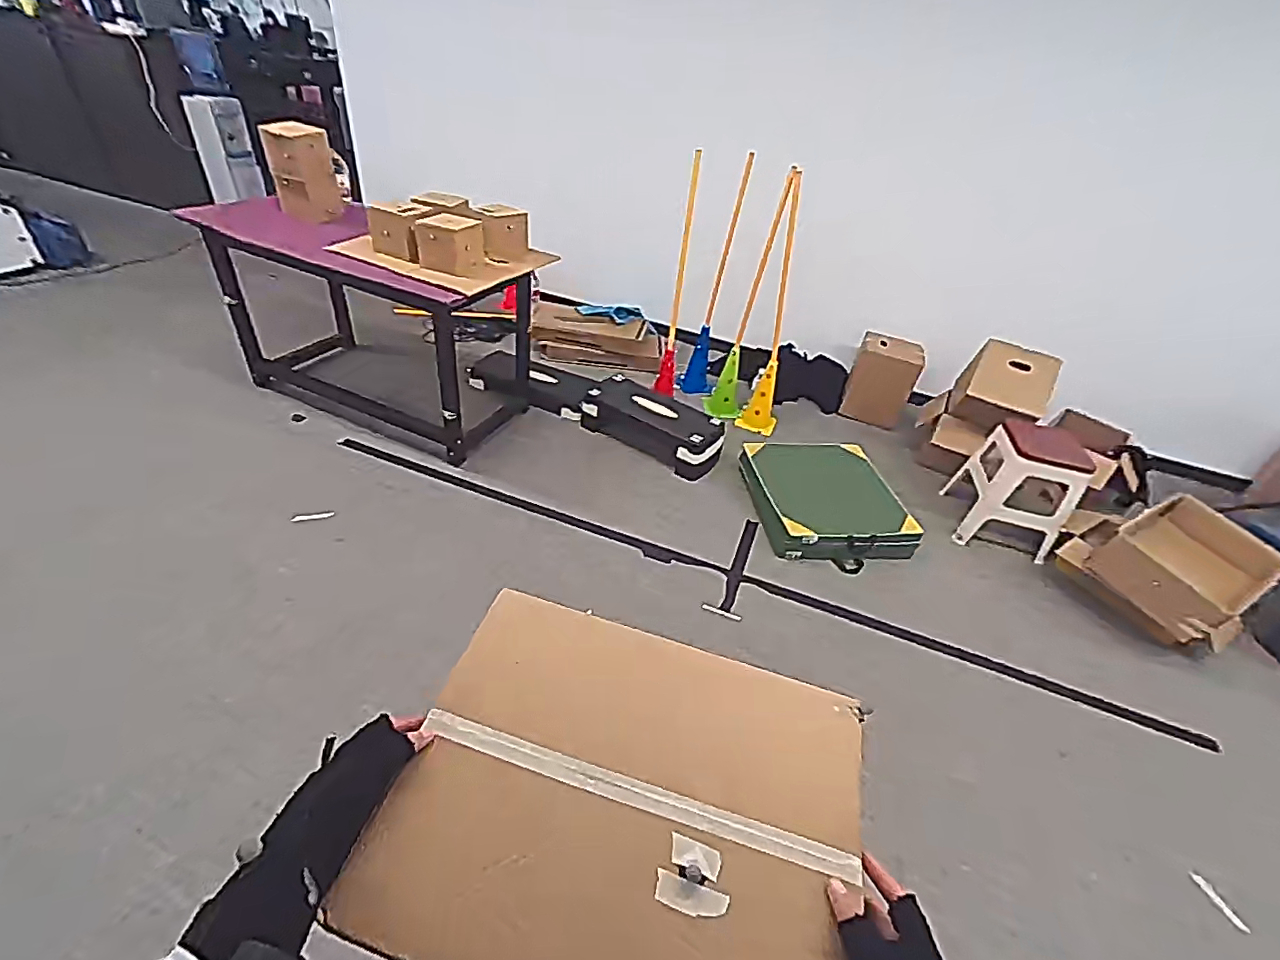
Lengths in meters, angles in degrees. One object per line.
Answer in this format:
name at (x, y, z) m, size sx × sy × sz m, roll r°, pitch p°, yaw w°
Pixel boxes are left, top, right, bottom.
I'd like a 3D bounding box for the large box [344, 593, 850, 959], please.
large box at (-0.021, 0.386, 0.607) m, size 0.408 × 0.320 × 0.320 m, roll 16°, pitch 46°, yaw 8°
